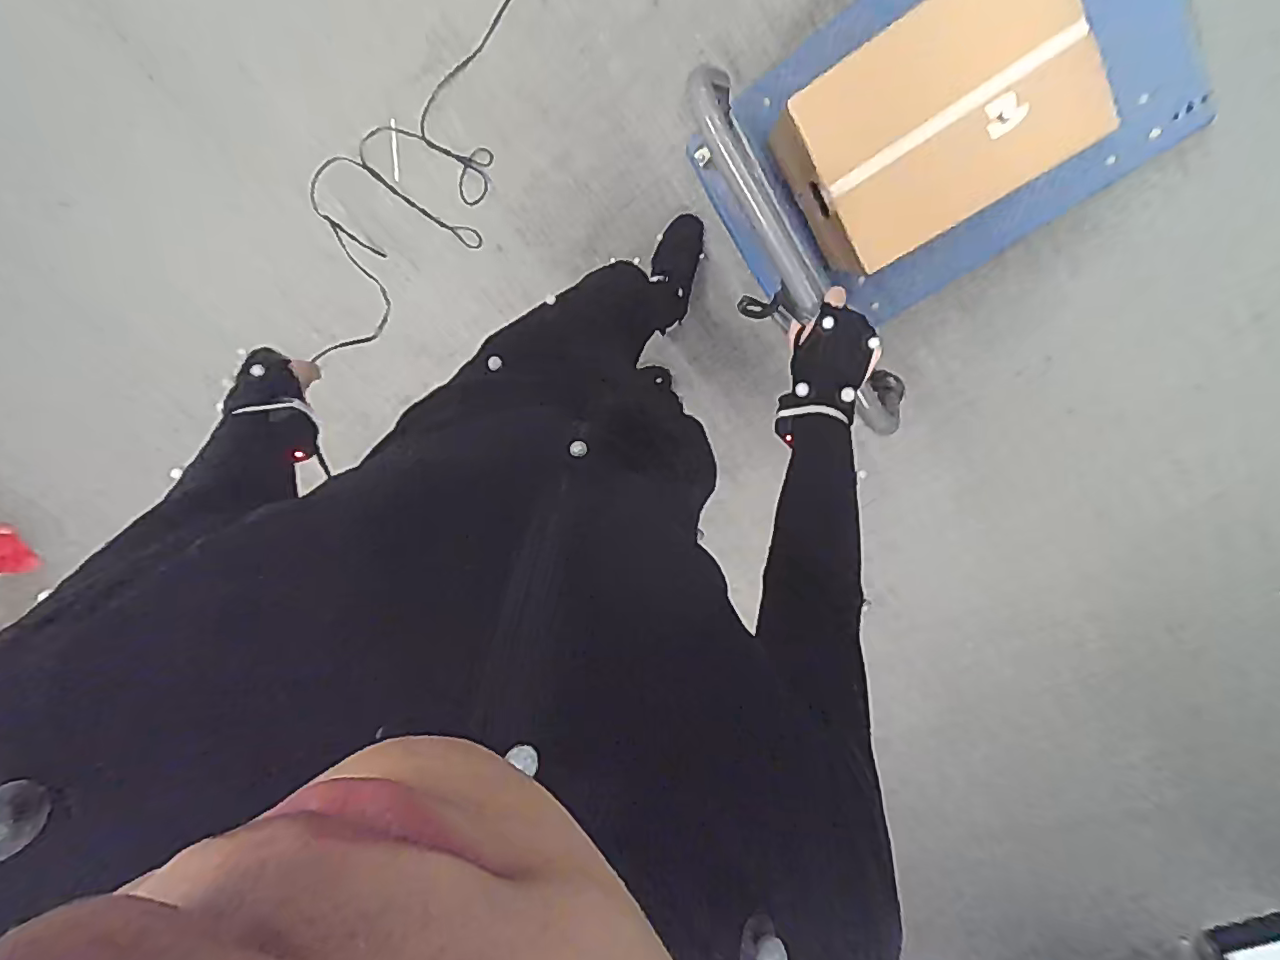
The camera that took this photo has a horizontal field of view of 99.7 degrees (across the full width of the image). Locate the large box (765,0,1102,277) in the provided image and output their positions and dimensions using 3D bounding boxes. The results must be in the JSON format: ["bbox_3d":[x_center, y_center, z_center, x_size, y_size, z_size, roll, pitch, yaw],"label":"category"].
[{"bbox_3d":[0.492,-0.623,0.997,0.408,0.320,0.320,-29,106,17],"label":"large box"}]
